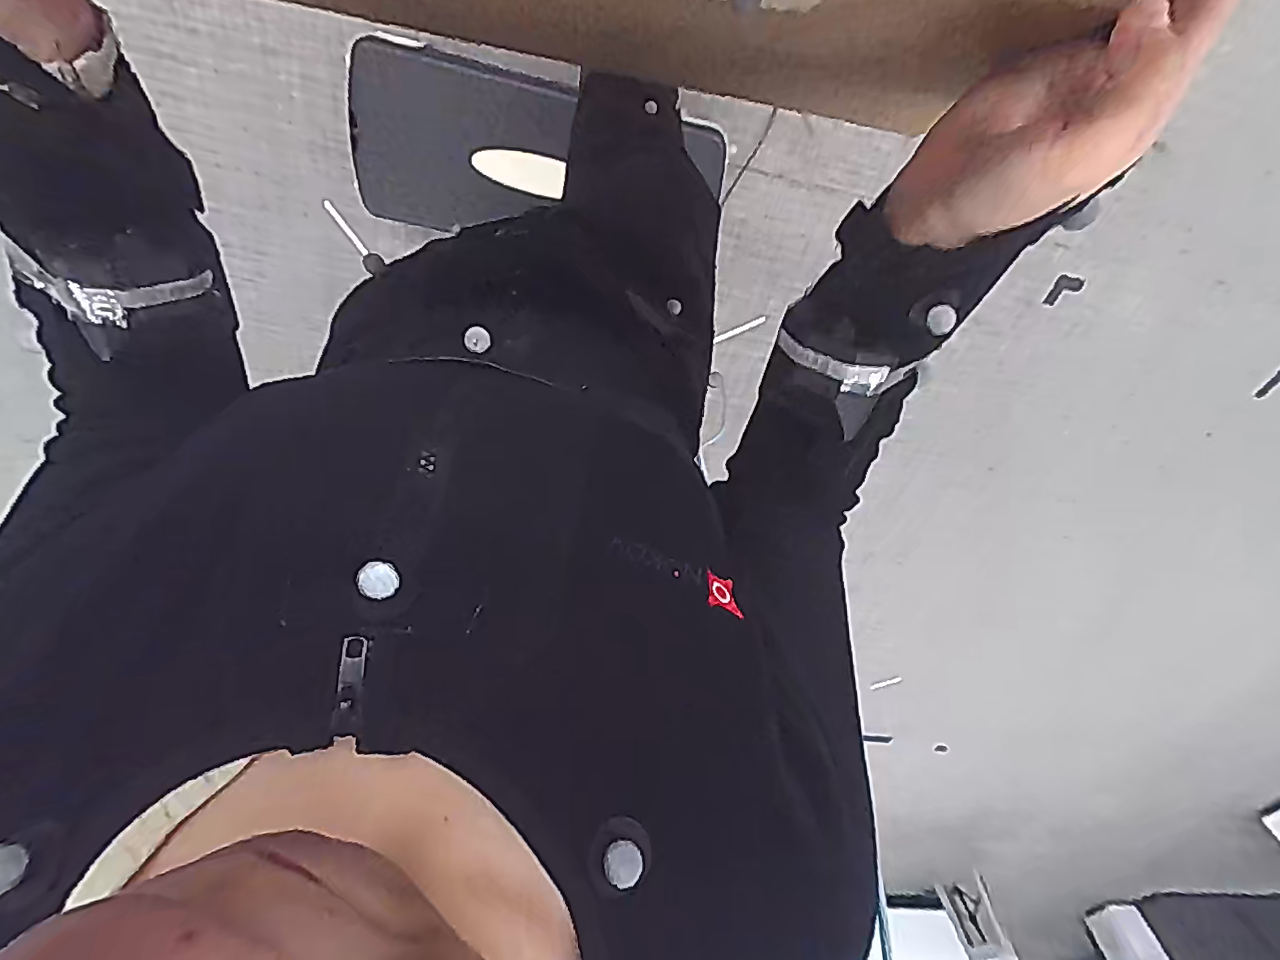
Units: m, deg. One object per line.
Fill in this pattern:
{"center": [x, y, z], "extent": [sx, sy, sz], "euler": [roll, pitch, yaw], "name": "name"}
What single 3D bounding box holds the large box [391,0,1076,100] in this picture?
{"center": [0.001, -0.346, 0.109], "extent": [0.408, 0.320, 0.320], "euler": [5, 104, -8], "name": "large box"}
